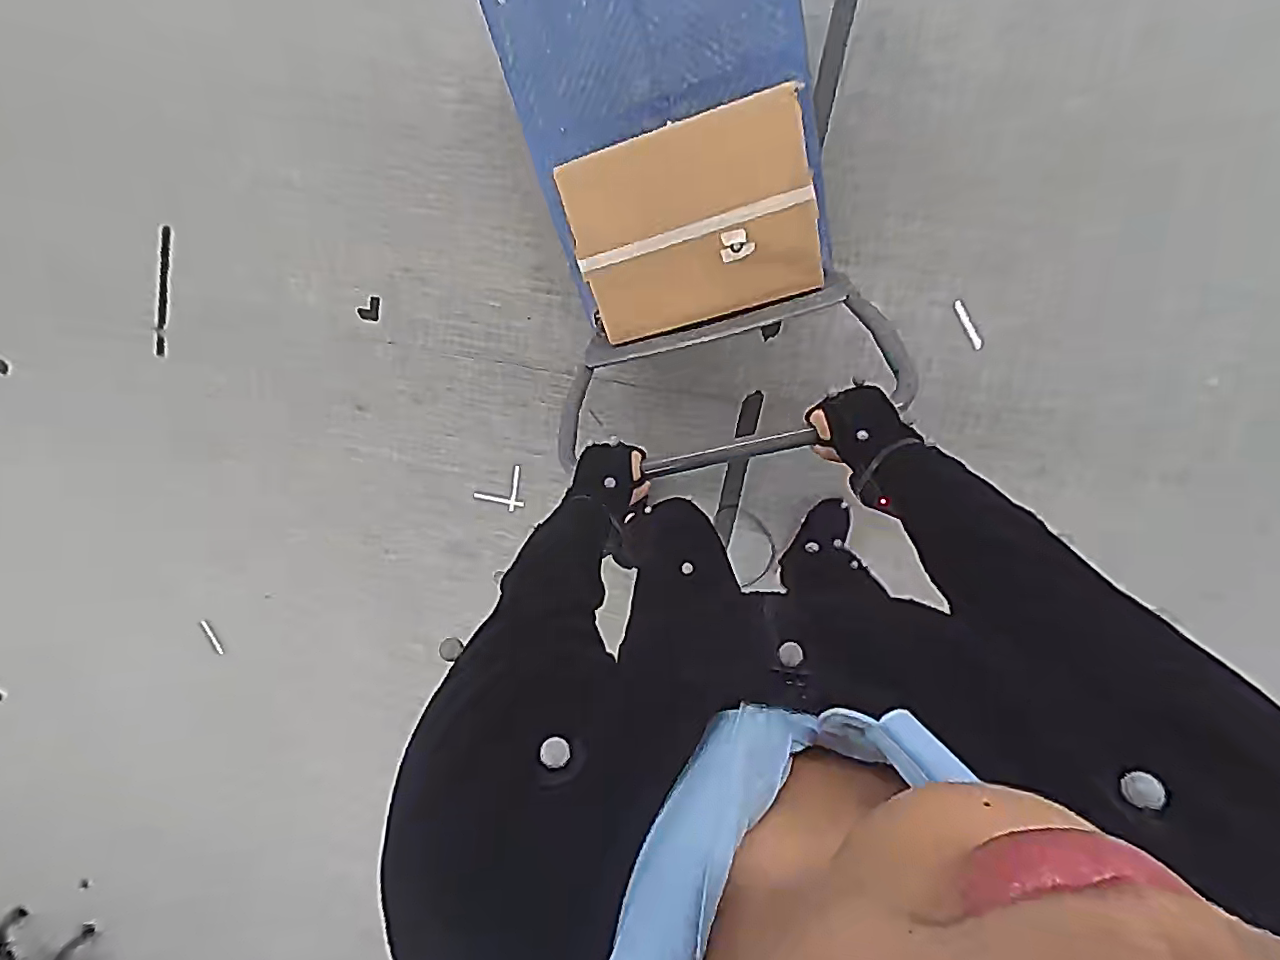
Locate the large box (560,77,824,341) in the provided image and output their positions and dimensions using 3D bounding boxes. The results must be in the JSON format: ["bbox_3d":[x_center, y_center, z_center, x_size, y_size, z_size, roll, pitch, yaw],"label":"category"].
[{"bbox_3d":[0.105,-0.516,1.069,0.408,0.320,0.320,-14,118,12],"label":"large box"}]
